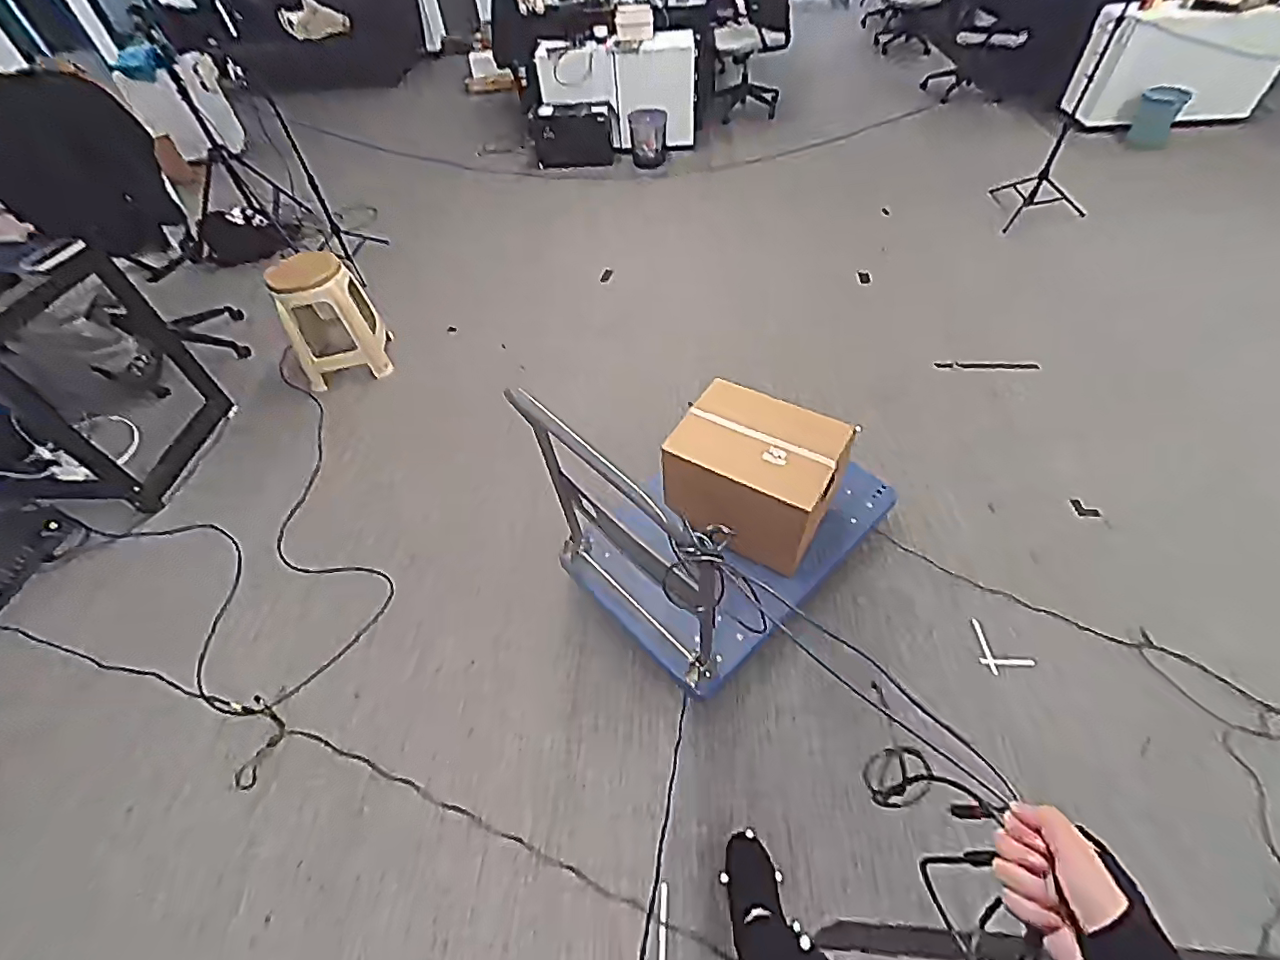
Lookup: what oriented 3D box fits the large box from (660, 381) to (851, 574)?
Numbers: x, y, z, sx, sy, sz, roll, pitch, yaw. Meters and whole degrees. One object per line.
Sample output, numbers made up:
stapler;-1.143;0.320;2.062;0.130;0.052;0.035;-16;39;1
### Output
large box;0.299;-0.011;1.490;0.408;0.320;0.320;25;57;22
